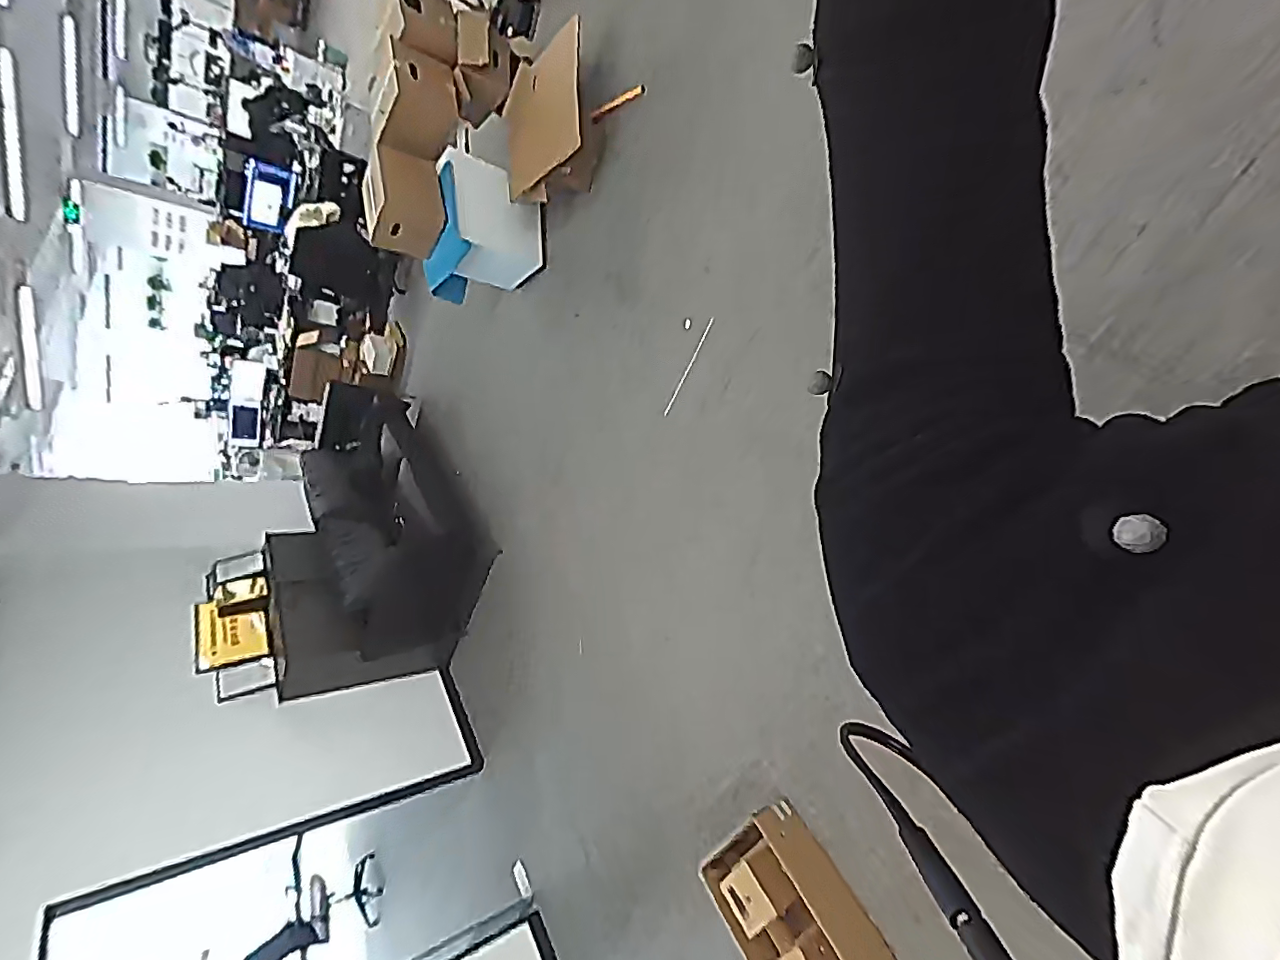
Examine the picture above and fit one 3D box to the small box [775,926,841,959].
[{"bbox_3d":[0.523,1.533,1.668,0.168,0.176,0.179,51,124,40],"label":"small box"}]
